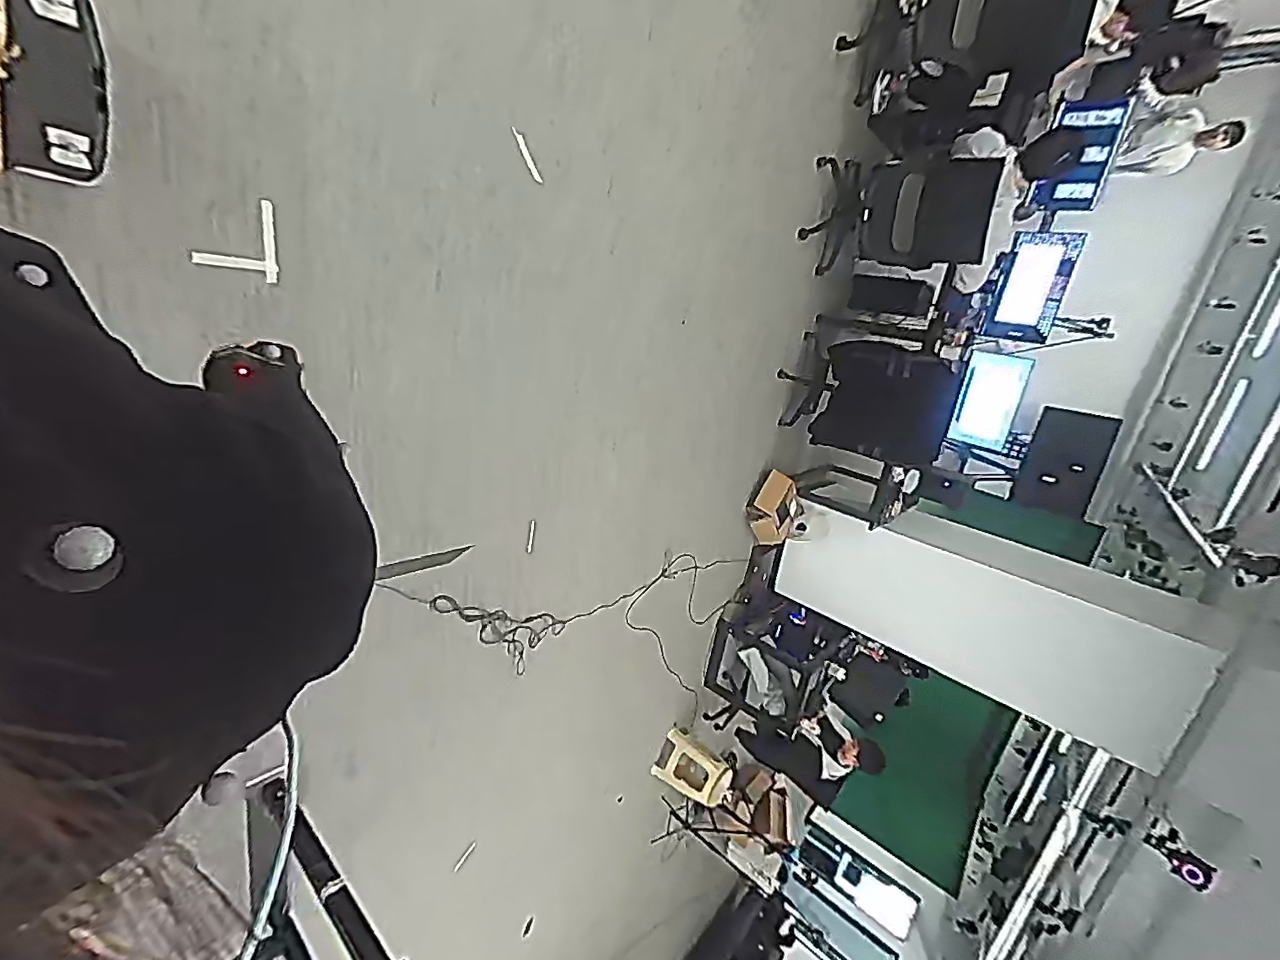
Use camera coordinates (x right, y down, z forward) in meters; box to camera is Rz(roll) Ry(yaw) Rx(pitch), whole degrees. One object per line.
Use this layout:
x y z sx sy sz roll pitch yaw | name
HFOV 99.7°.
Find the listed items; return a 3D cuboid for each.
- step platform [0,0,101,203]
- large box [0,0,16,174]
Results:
-1.124 -0.599 0.644 0.684 0.204 0.286 -1 109 -51 | step platform
-0.927 -0.531 0.525 0.408 0.320 0.320 -4 110 -50 | large box
